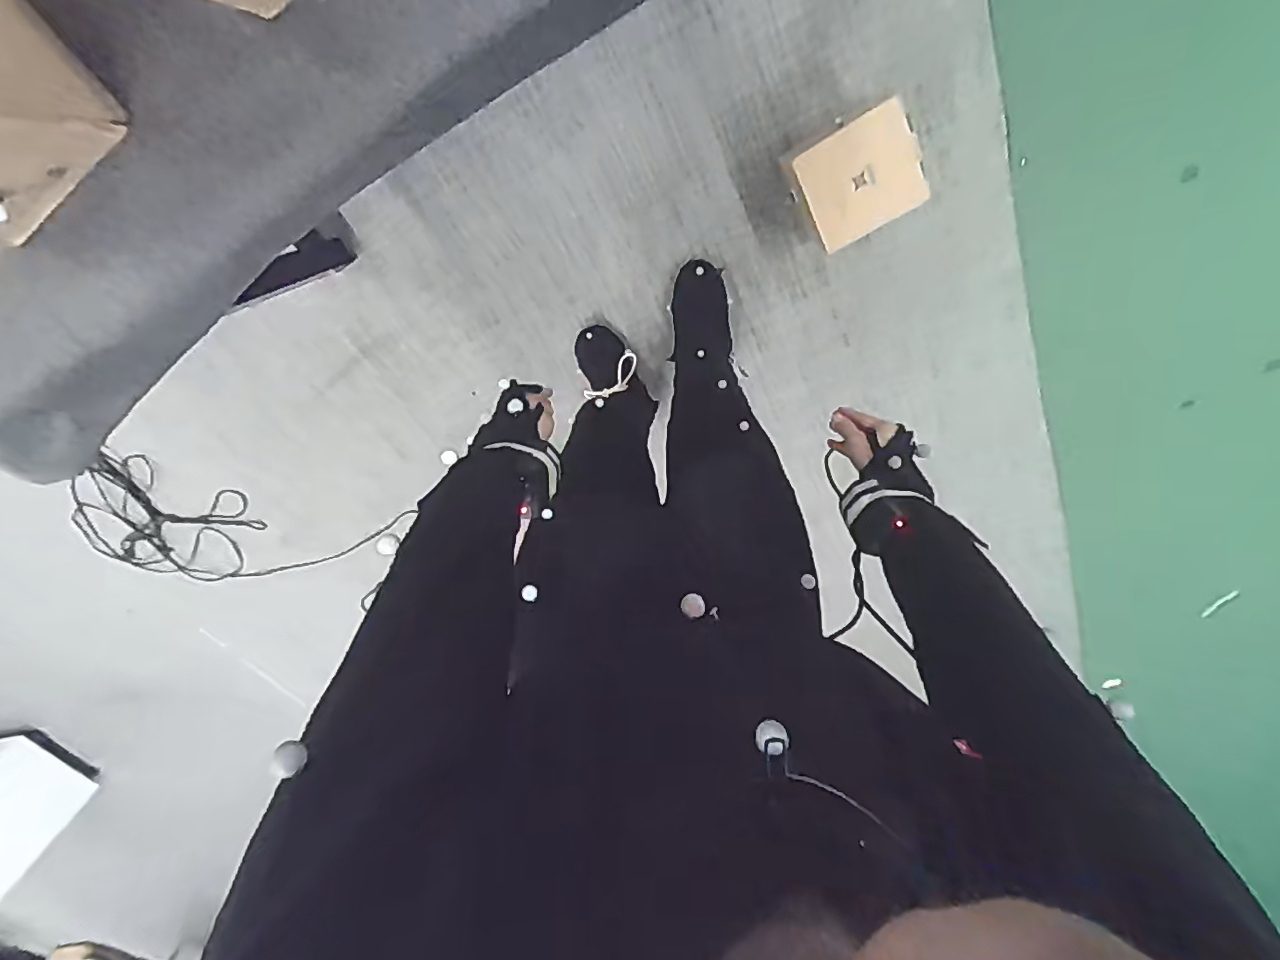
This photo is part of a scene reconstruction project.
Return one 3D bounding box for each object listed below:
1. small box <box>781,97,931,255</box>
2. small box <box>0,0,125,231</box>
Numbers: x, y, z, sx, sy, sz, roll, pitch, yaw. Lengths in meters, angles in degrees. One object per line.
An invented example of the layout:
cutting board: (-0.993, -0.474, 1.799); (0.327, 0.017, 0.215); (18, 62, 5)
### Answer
small box: (0.362, -0.519, 0.930); (0.179, 0.176, 0.168); (-25, 116, 19)
small box: (-0.475, -0.249, 0.303); (0.168, 0.176, 0.179); (-25, 117, 18)
